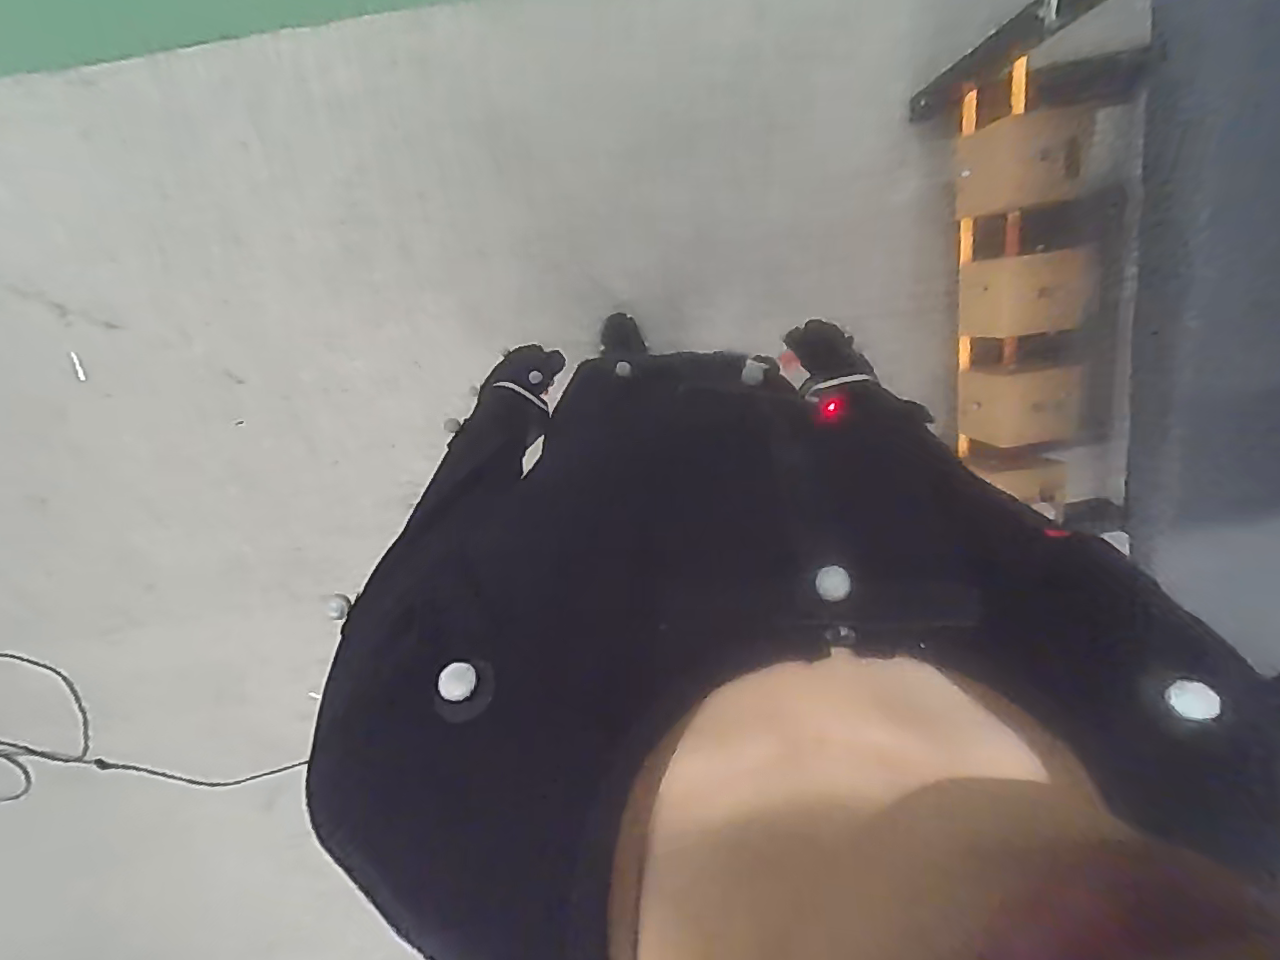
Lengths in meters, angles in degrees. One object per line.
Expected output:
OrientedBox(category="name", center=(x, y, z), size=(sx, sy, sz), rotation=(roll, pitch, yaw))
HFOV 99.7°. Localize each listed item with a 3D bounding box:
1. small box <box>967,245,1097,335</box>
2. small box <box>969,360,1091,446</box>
OrientedBox(category="small box", center=(0.864, -0.418, 1.211), size=(0.179, 0.176, 0.168), rotation=(-8, 107, 1))
OrientedBox(category="small box", center=(0.909, -0.186, 1.277), size=(0.179, 0.176, 0.168), rotation=(-9, 106, 1))
